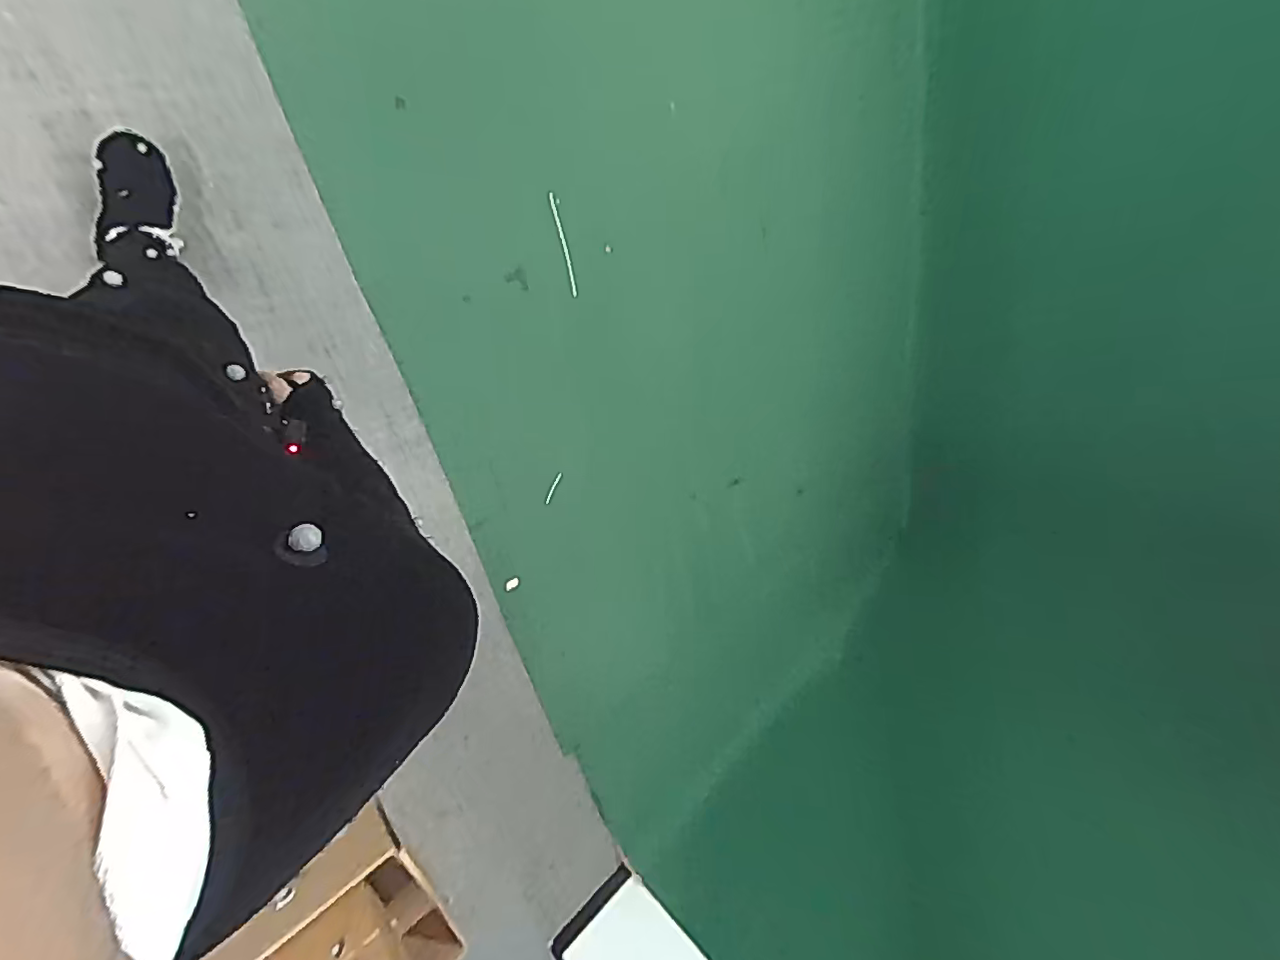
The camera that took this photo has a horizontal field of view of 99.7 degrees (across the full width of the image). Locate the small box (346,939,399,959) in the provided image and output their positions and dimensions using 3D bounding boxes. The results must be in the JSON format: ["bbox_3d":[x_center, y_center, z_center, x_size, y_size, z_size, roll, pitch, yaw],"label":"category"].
[{"bbox_3d":[-0.460,0.931,0.900,0.168,0.176,0.179,-30,123,-31],"label":"small box"}]

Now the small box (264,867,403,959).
[{"bbox_3d":[-0.567,0.884,1.013,0.168,0.176,0.179,-31,124,-31],"label":"small box"}]
